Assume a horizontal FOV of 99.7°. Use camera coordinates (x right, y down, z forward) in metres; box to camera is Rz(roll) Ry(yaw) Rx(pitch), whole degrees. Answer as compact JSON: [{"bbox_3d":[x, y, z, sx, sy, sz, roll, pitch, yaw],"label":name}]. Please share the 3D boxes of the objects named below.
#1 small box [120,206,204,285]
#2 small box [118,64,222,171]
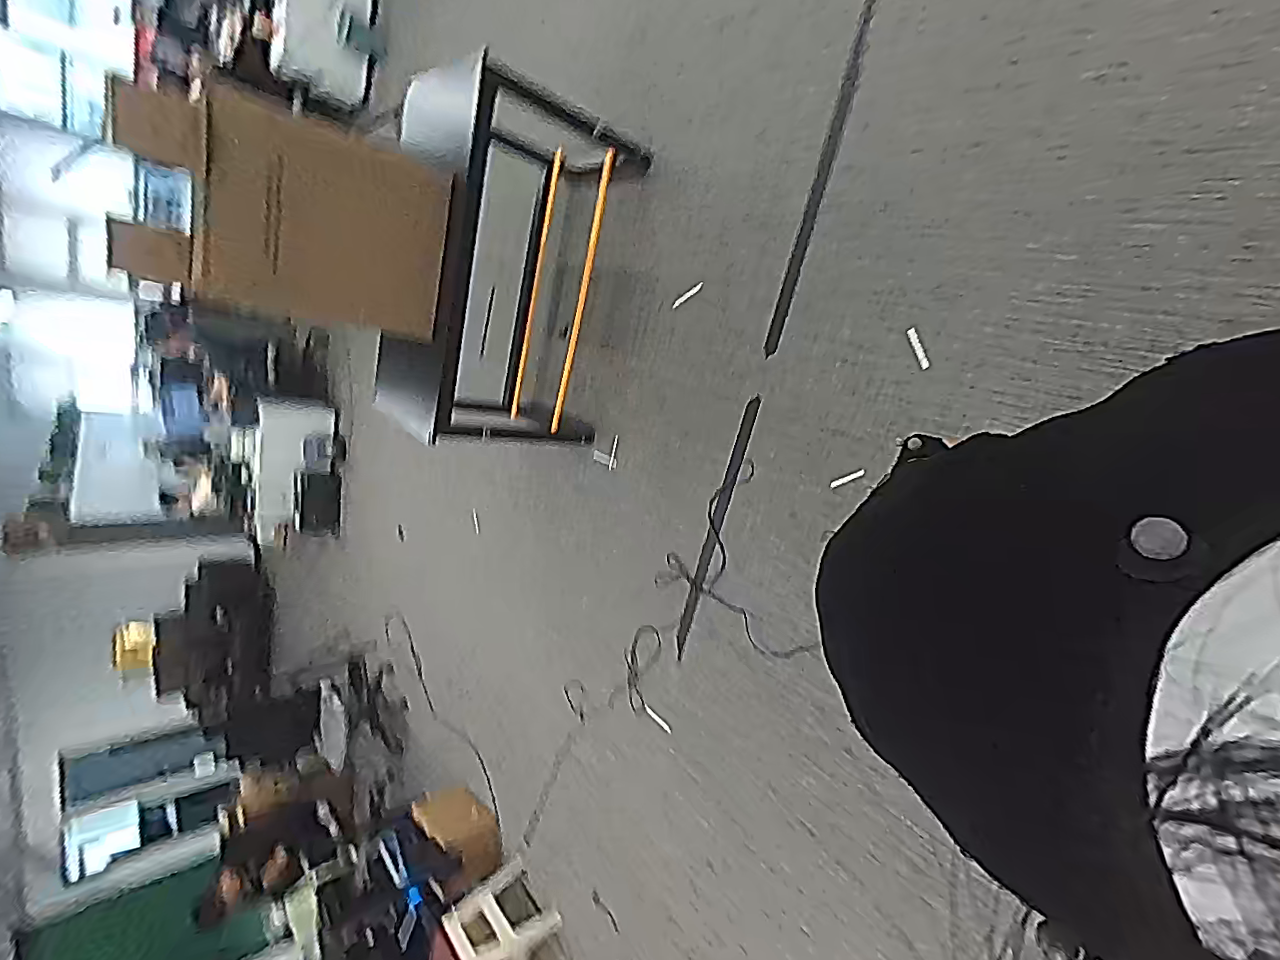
[{"bbox_3d":[-1.333,-0.649,1.510,0.179,0.176,0.168,23,107,44],"label":"small box"},{"bbox_3d":[-1.123,-0.859,1.293,0.179,0.176,0.168,32,115,37],"label":"small box"}]
